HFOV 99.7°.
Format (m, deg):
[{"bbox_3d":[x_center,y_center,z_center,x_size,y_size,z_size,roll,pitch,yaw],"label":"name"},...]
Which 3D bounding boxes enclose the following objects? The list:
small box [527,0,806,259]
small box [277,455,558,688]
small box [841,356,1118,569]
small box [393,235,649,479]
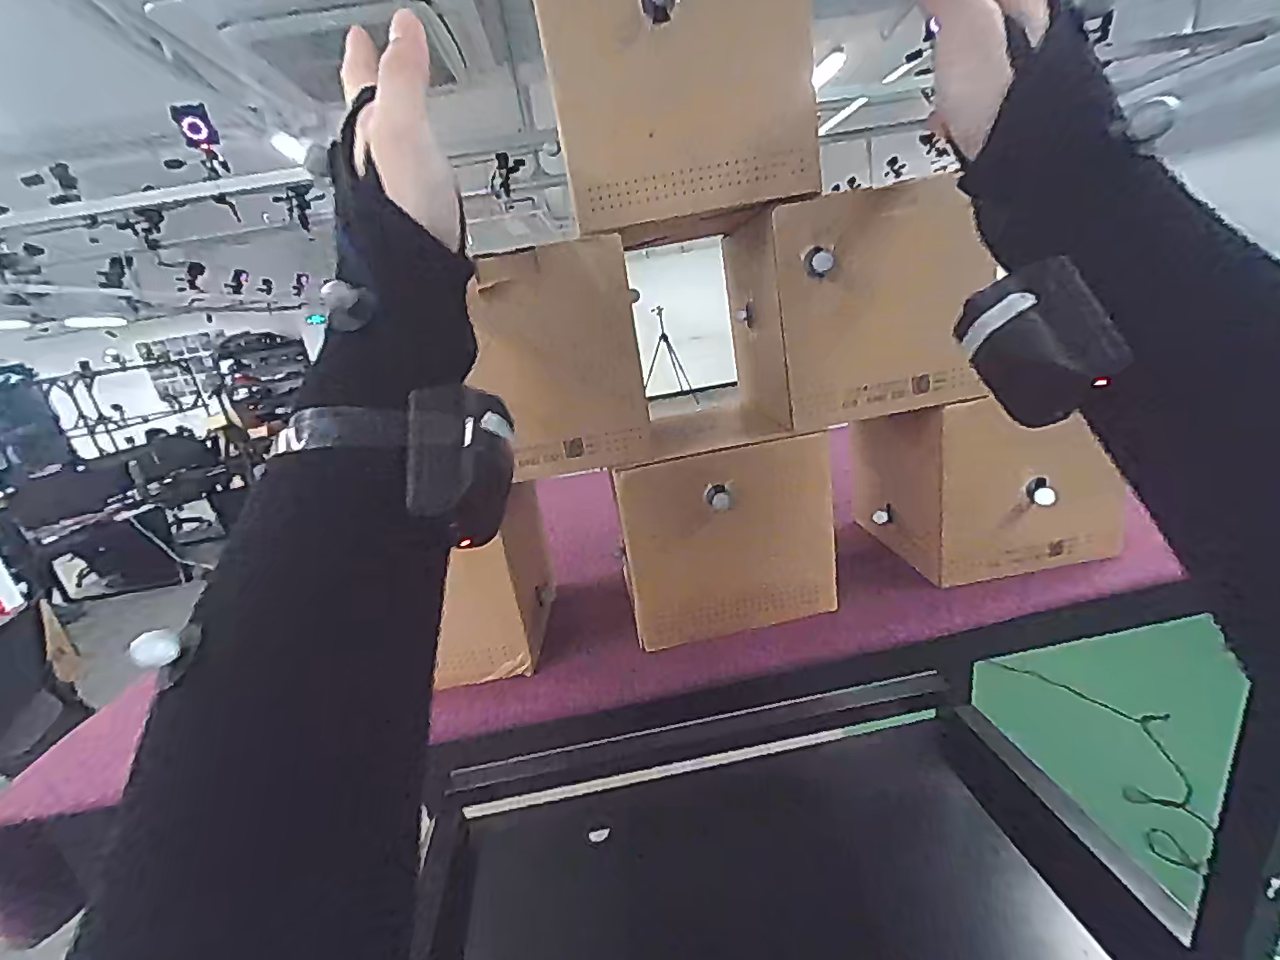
[{"bbox_3d":[0.021,-0.285,0.443,0.179,0.176,0.168,-10,17,0],"label":"small box"},{"bbox_3d":[-0.188,0.076,0.516,0.179,0.176,0.168,-8,17,1],"label":"small box"},{"bbox_3d":[0.320,-0.020,0.544,0.168,0.176,0.179,-10,17,-1],"label":"small box"},{"bbox_3d":[-0.090,-0.105,0.487,0.168,0.176,0.179,-10,16,-3],"label":"small box"}]
